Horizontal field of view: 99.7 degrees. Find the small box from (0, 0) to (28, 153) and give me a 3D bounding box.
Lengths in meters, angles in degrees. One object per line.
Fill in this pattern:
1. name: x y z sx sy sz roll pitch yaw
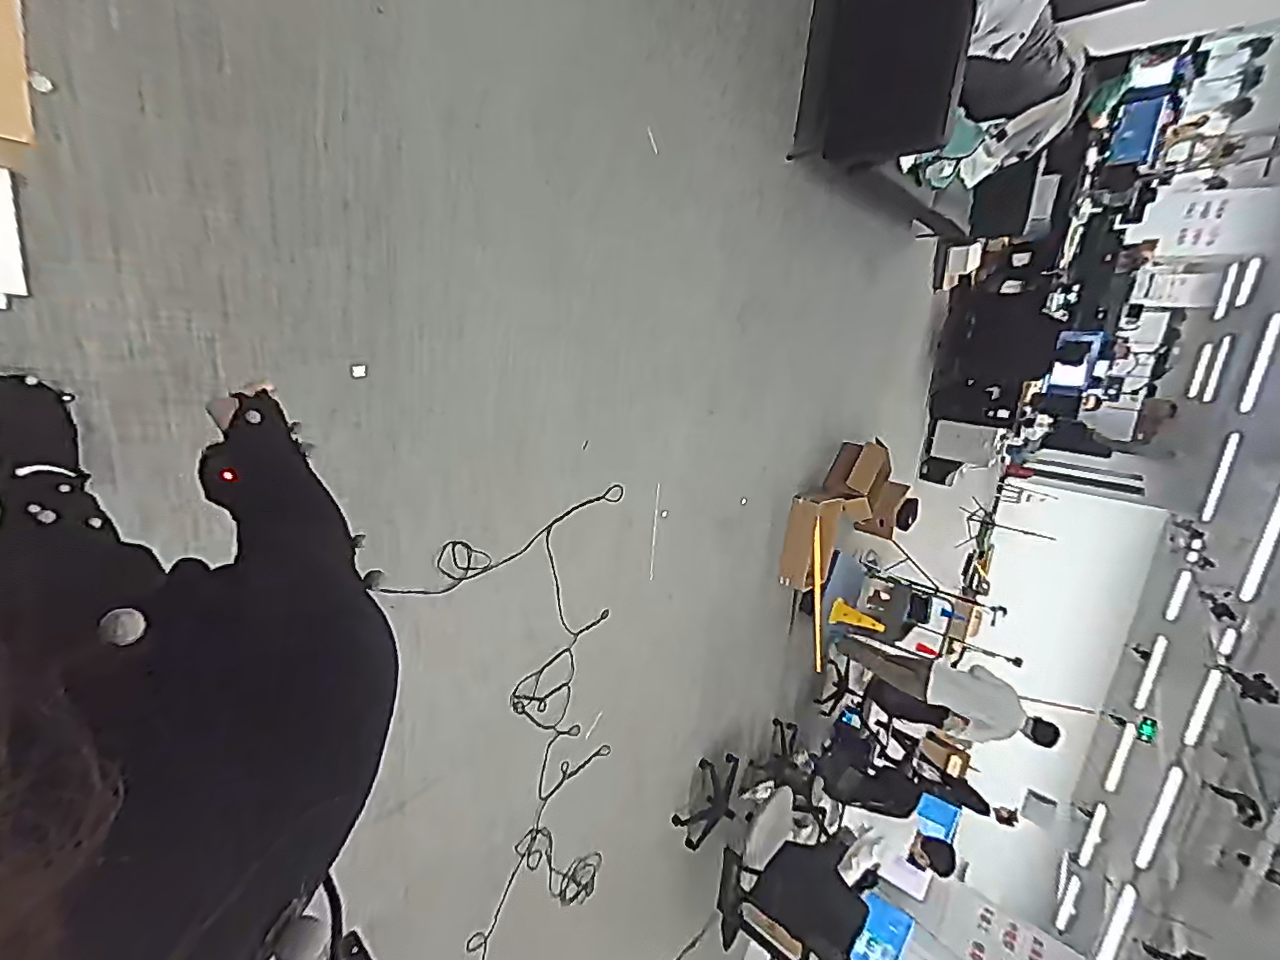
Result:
1. small box: -0.601 -0.374 0.410 0.179 0.176 0.168 -5 108 -49
